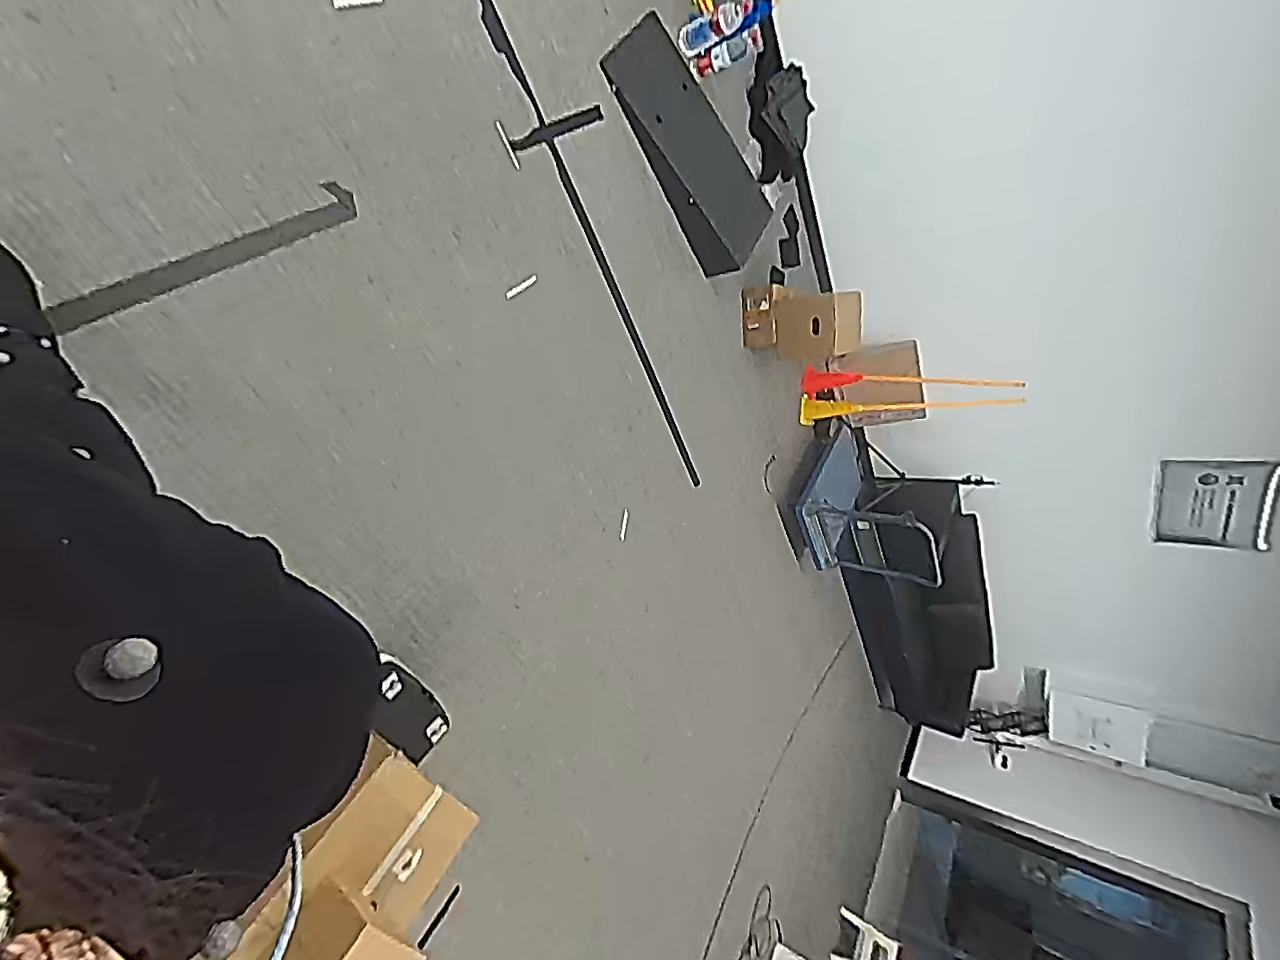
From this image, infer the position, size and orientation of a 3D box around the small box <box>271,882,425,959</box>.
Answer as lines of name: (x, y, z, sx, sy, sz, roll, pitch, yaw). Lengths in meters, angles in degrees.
small box: (-0.497, 0.831, 0.903, 0.179, 0.176, 0.168, -50, 127, -36)

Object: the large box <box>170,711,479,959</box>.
large box: (-0.631, 0.776, 1.121, 0.408, 0.320, 0.320, -54, 130, -34)
